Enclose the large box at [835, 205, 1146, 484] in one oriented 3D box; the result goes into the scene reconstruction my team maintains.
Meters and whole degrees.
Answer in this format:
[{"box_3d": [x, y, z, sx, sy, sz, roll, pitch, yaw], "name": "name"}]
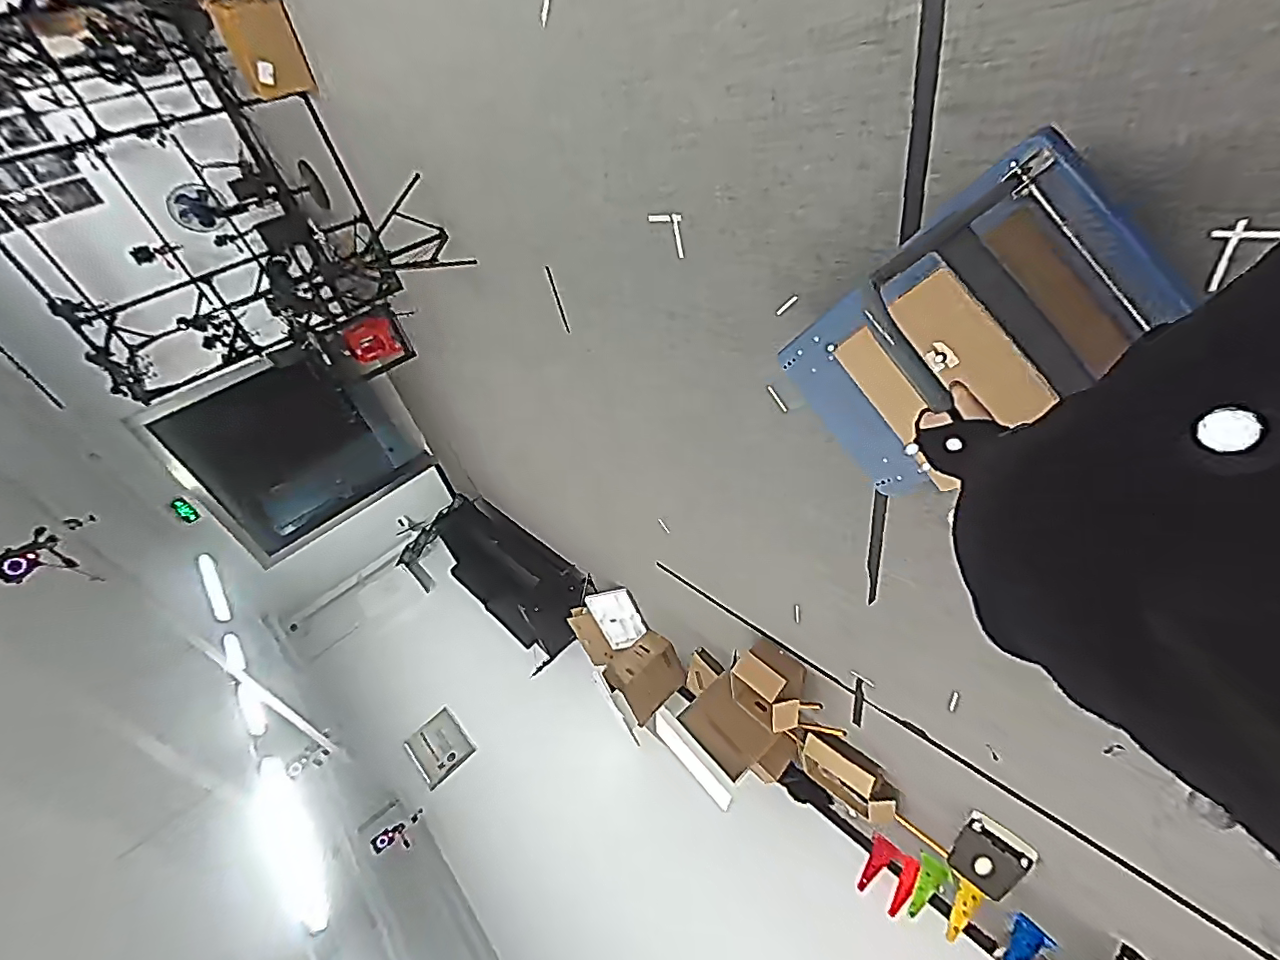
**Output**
[{"box_3d": [0.711, -0.266, 1.124, 0.408, 0.320, 0.320, 52, 154, 1], "name": "large box"}]
